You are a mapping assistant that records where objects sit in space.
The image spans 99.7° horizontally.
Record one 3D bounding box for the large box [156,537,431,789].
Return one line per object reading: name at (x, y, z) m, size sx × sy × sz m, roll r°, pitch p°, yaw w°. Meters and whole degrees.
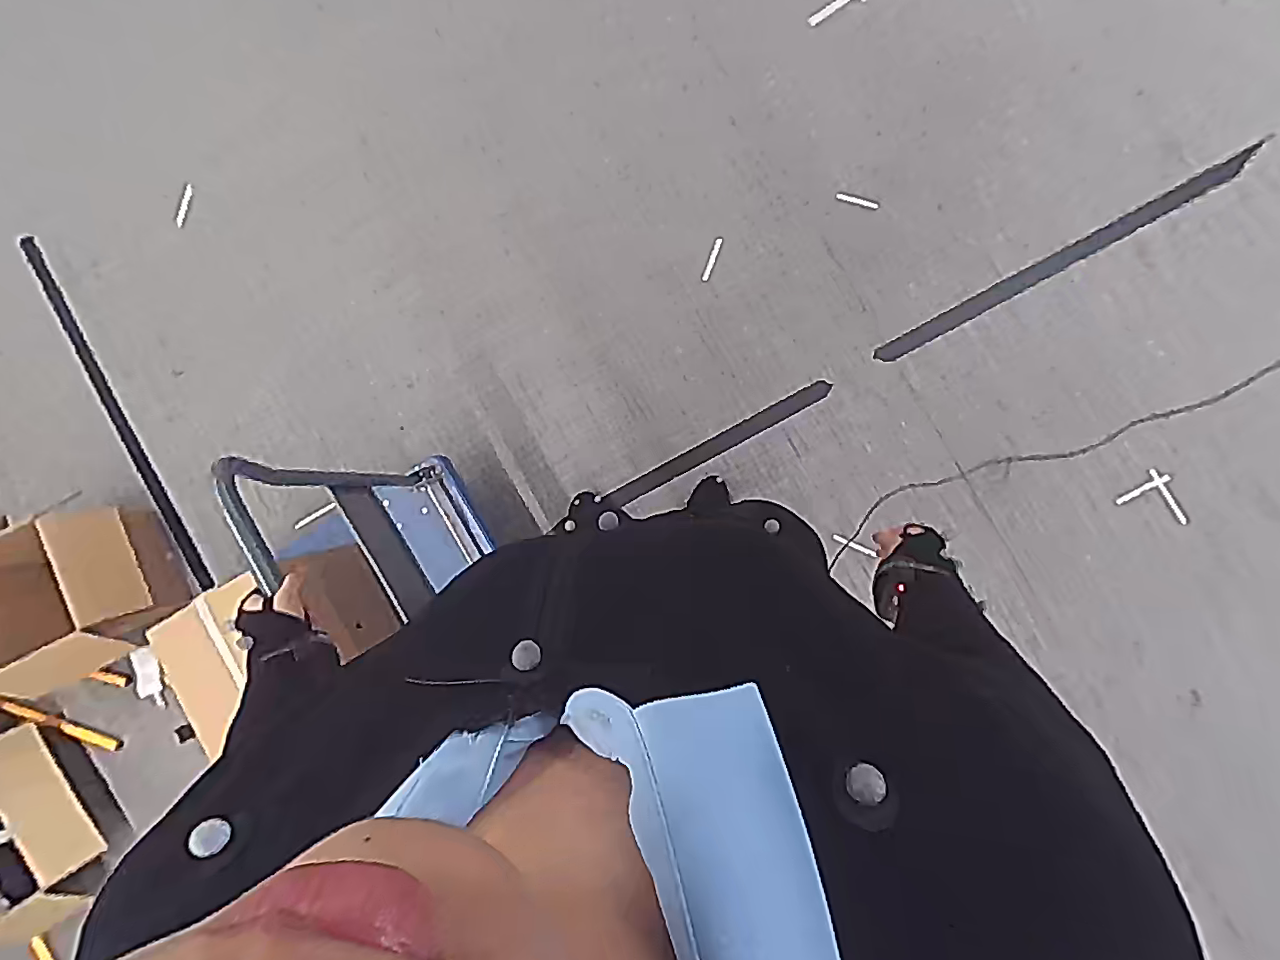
large box at (-0.772, 0.392, 1.258) m, size 0.320 × 0.320 × 0.408 m, roll -29°, pitch 89°, yaw 7°
